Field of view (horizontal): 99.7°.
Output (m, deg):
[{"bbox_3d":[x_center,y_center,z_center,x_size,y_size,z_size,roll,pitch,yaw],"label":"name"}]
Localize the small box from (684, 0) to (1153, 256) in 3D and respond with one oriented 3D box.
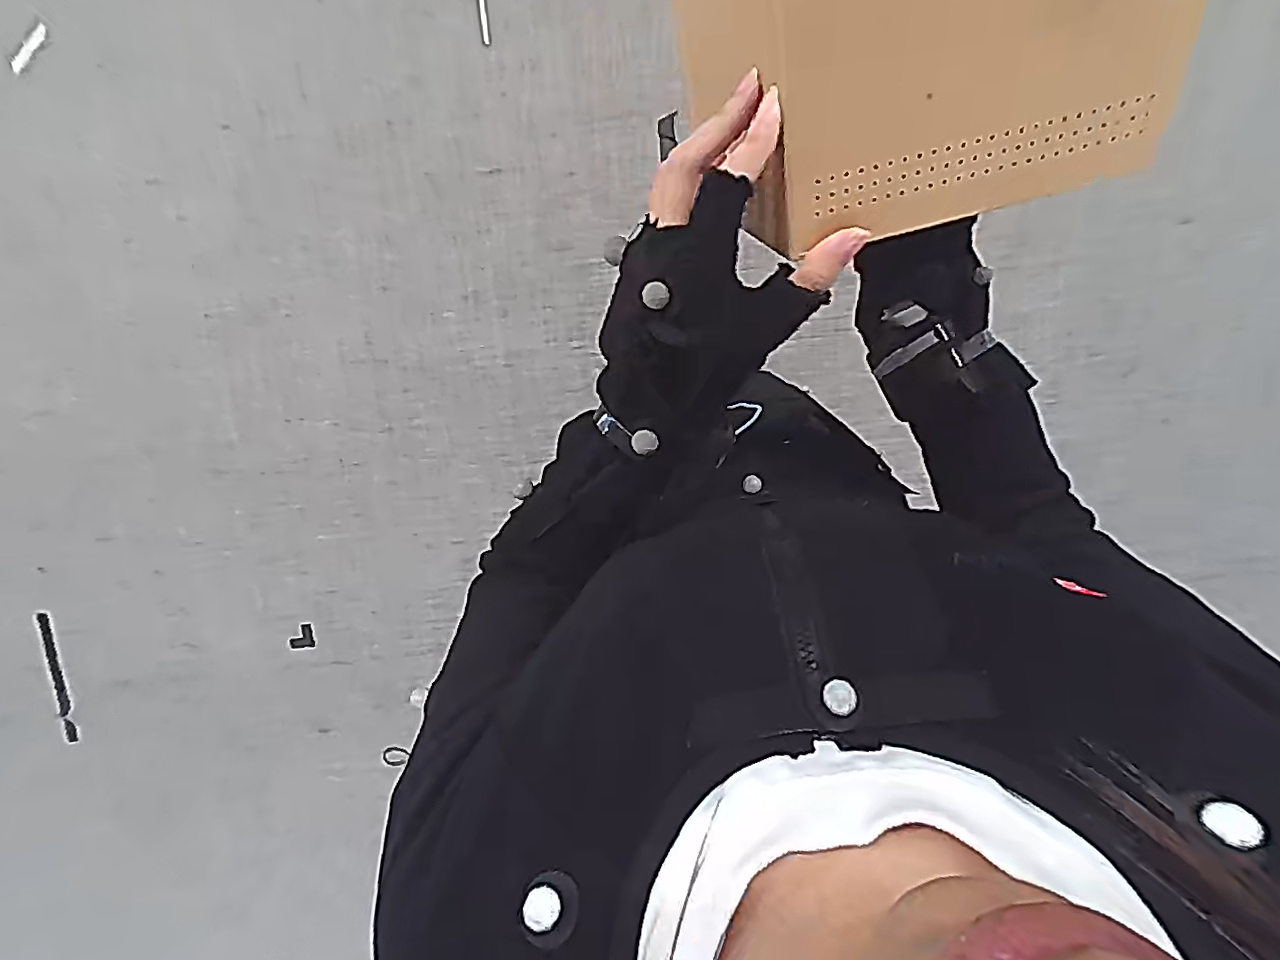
[{"bbox_3d":[0.123,-0.237,0.280,0.179,0.168,0.176,-15,126,0],"label":"small box"}]
